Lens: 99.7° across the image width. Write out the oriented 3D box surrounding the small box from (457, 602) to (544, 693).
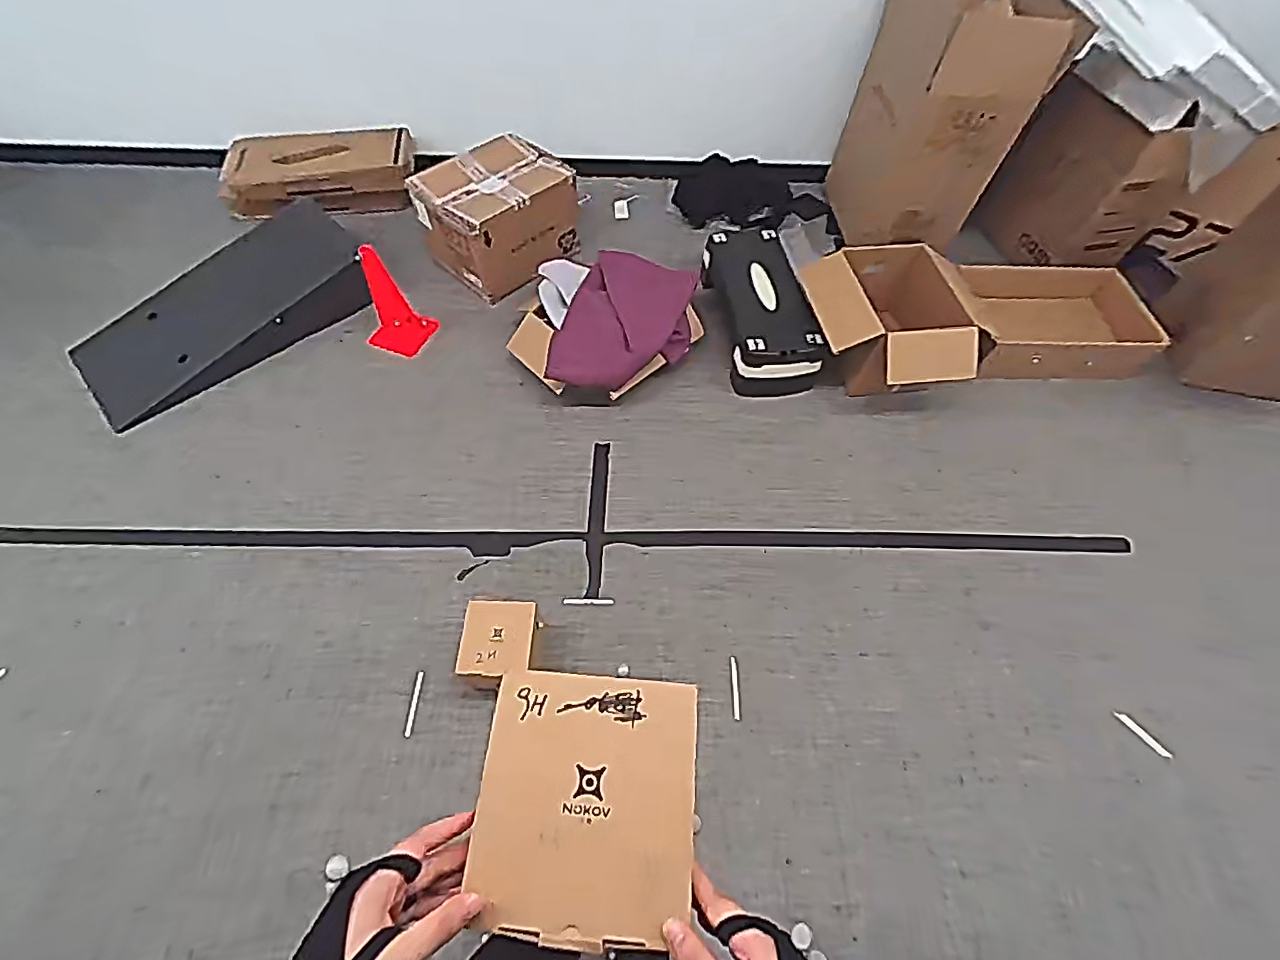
[{"bbox_3d":[-0.334,0.414,1.333,0.168,0.176,0.179,2,58,0],"label":"small box"}]
